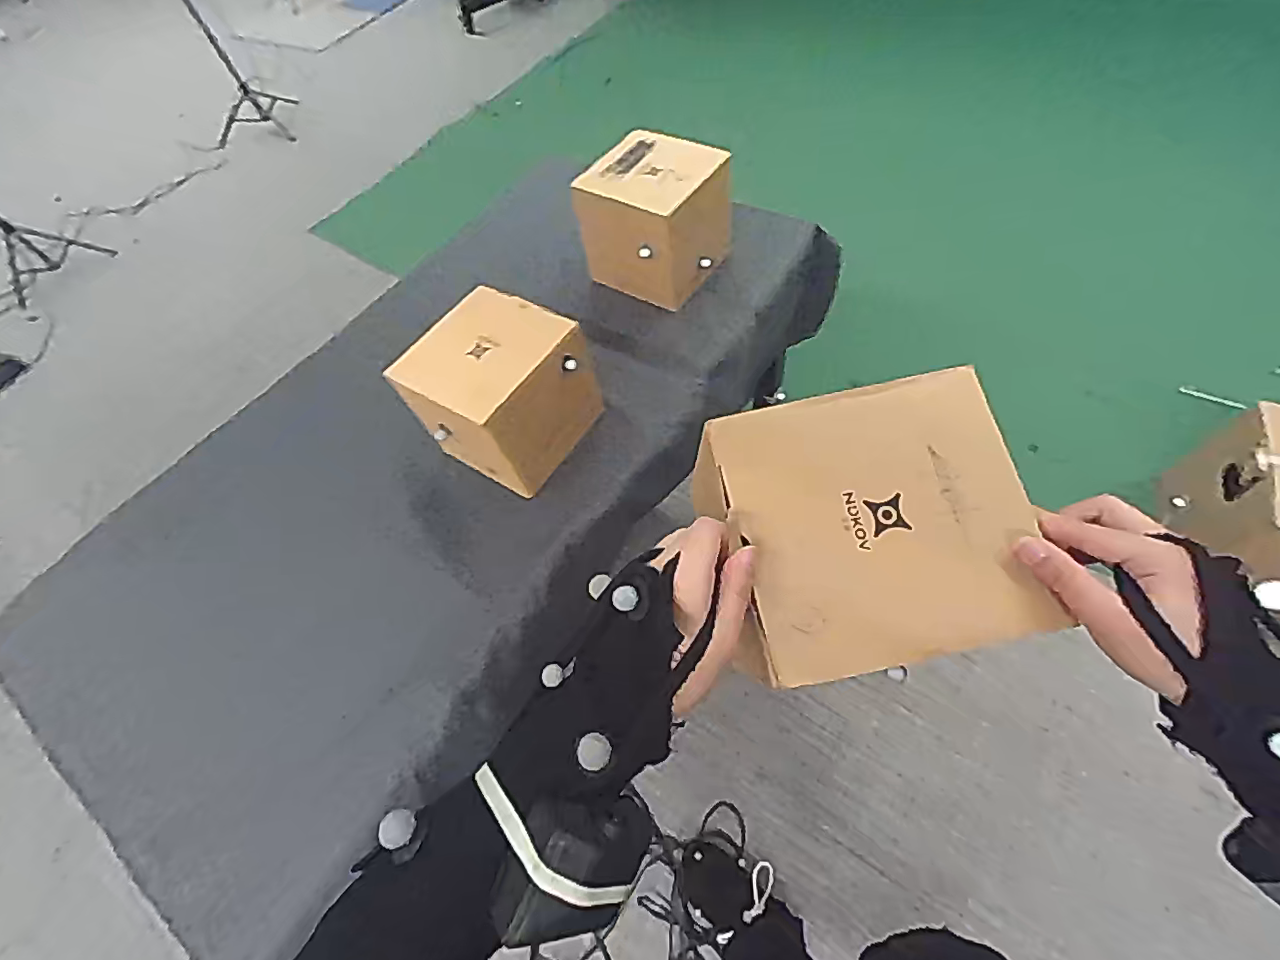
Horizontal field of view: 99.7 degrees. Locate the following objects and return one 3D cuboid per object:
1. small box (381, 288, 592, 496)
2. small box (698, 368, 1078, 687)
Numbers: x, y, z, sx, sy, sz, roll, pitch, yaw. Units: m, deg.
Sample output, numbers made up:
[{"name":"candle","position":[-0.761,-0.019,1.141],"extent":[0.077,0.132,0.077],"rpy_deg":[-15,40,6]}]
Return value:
[{"name":"small box","position":[-0.181,-0.108,0.700],"extent":[0.168,0.176,0.179],"rpy_deg":[27,65,23]},{"name":"small box","position":[0.143,0.044,0.392],"extent":[0.179,0.176,0.168],"rpy_deg":[-11,75,-2]}]
